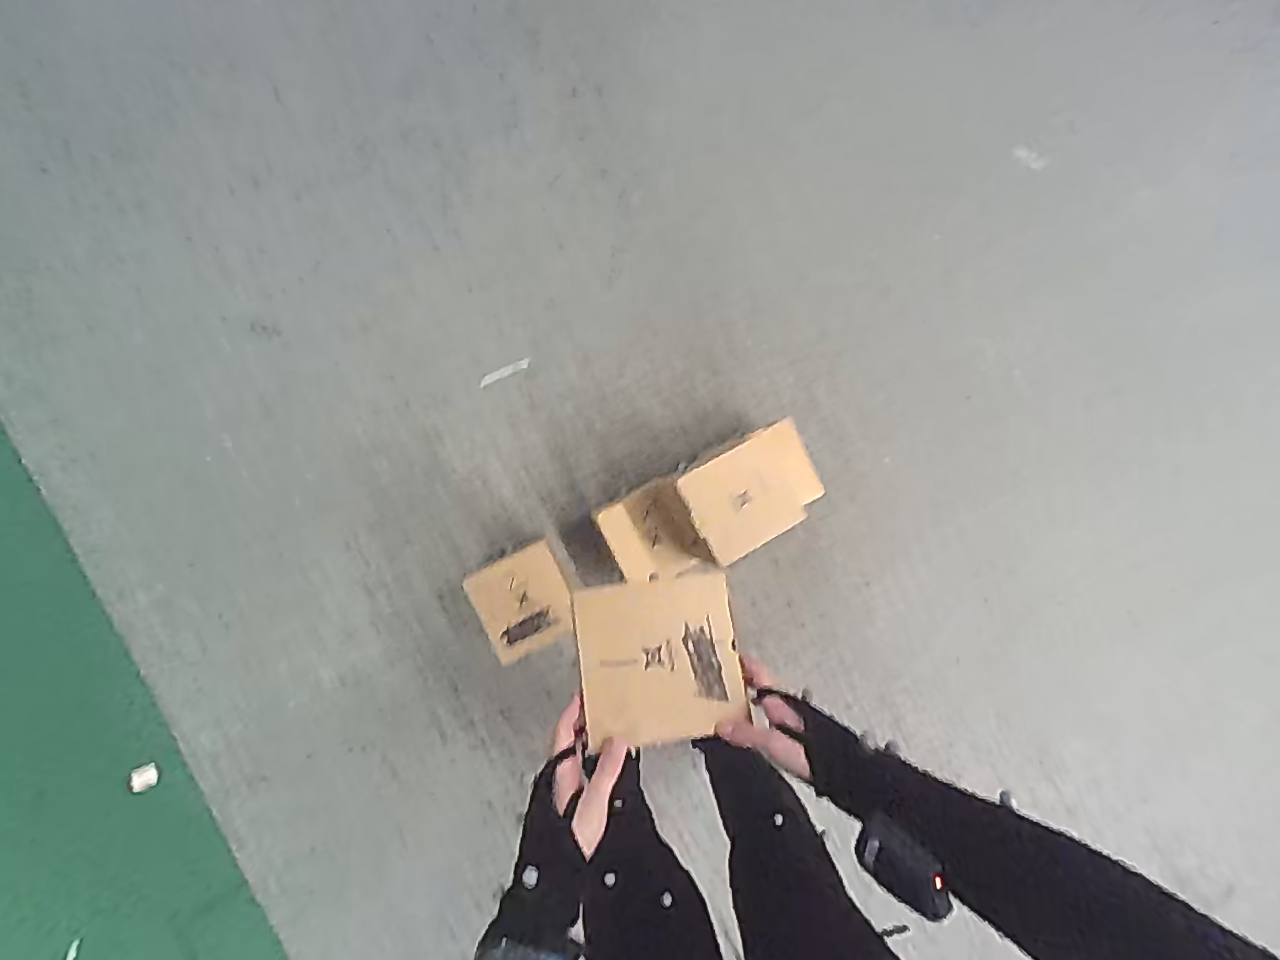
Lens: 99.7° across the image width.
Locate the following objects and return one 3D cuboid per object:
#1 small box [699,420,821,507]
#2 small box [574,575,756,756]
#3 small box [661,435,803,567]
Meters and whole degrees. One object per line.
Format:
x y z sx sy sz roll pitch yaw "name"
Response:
0.247 -0.009 1.156 0.168 0.176 0.179 -27 92 -9 "small box"
0.016 0.213 0.643 0.179 0.176 0.168 -5 72 -9 "small box"
0.151 0.039 0.973 0.179 0.176 0.168 -29 93 -11 "small box"
